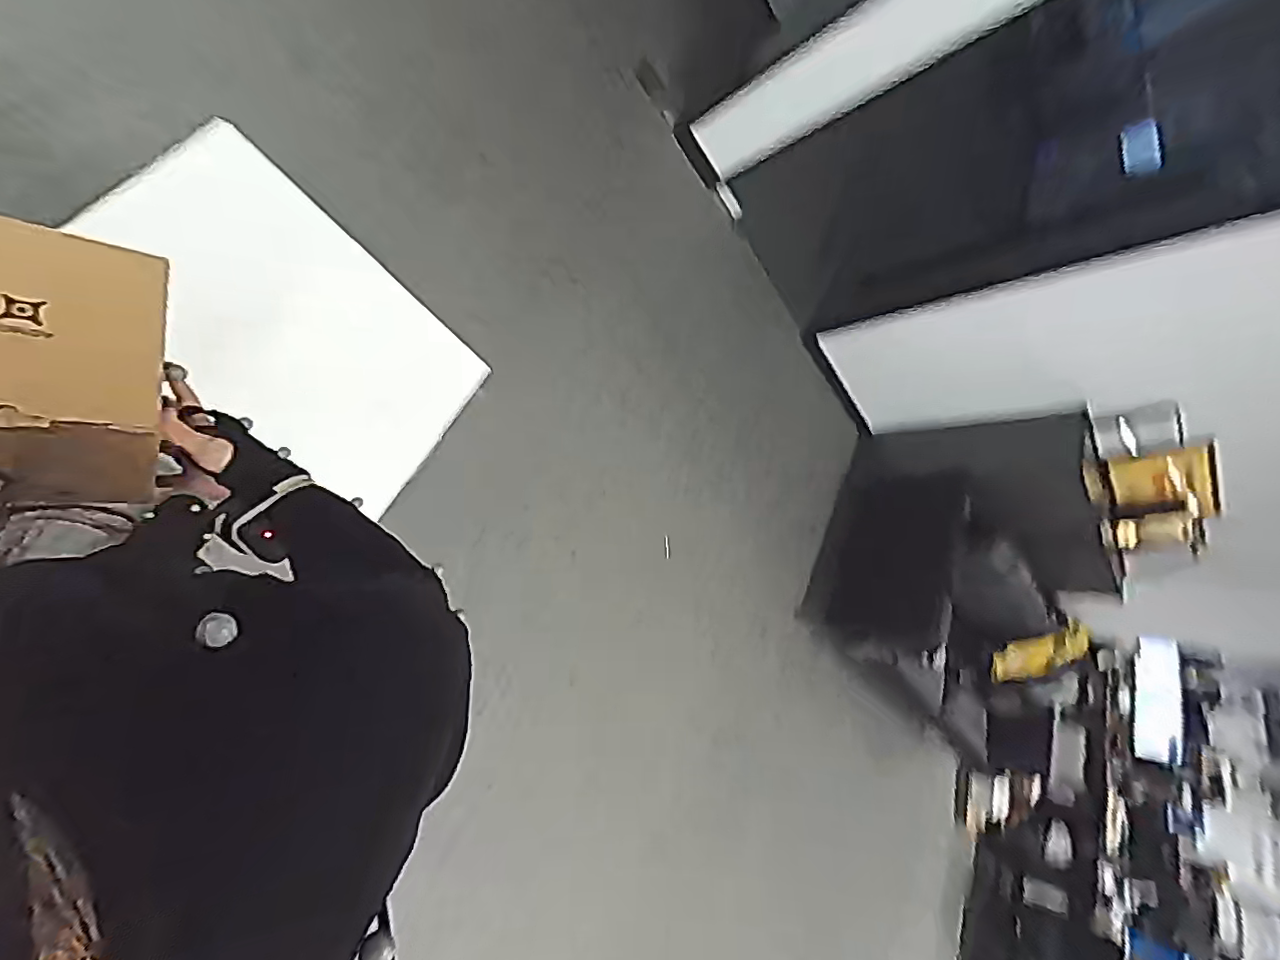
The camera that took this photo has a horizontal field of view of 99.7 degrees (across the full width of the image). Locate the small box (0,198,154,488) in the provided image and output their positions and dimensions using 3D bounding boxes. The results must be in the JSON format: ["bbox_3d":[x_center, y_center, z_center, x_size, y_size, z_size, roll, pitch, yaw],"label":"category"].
[{"bbox_3d":[-0.517,-0.106,0.441,0.168,0.176,0.179,3,68,-45],"label":"small box"}]
